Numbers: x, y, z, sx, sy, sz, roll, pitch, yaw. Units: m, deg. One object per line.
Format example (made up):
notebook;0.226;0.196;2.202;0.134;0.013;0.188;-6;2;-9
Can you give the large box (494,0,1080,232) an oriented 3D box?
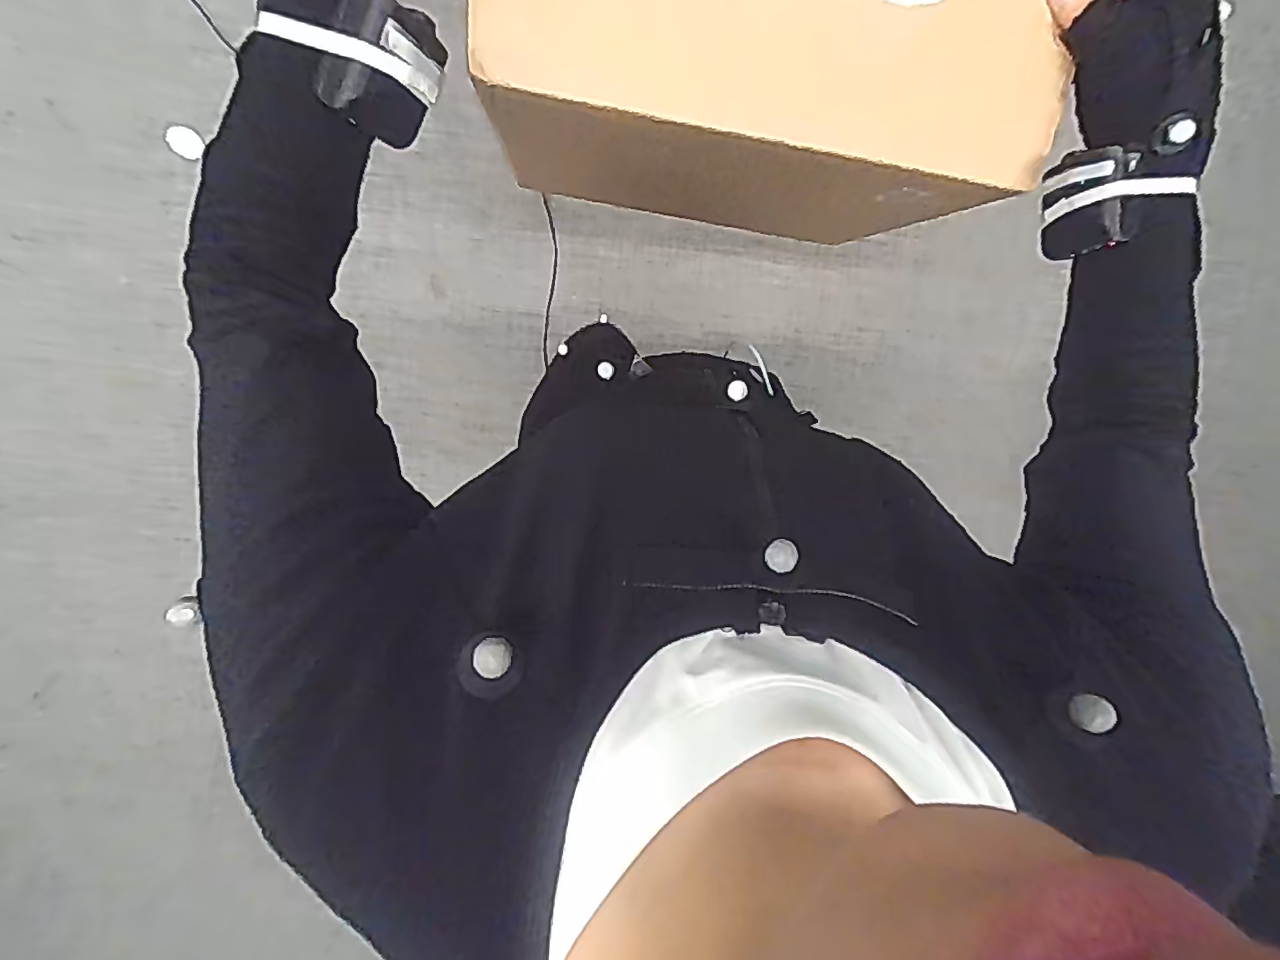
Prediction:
large box;0.096;-0.432;0.477;0.408;0.320;0.320;5;107;-10
